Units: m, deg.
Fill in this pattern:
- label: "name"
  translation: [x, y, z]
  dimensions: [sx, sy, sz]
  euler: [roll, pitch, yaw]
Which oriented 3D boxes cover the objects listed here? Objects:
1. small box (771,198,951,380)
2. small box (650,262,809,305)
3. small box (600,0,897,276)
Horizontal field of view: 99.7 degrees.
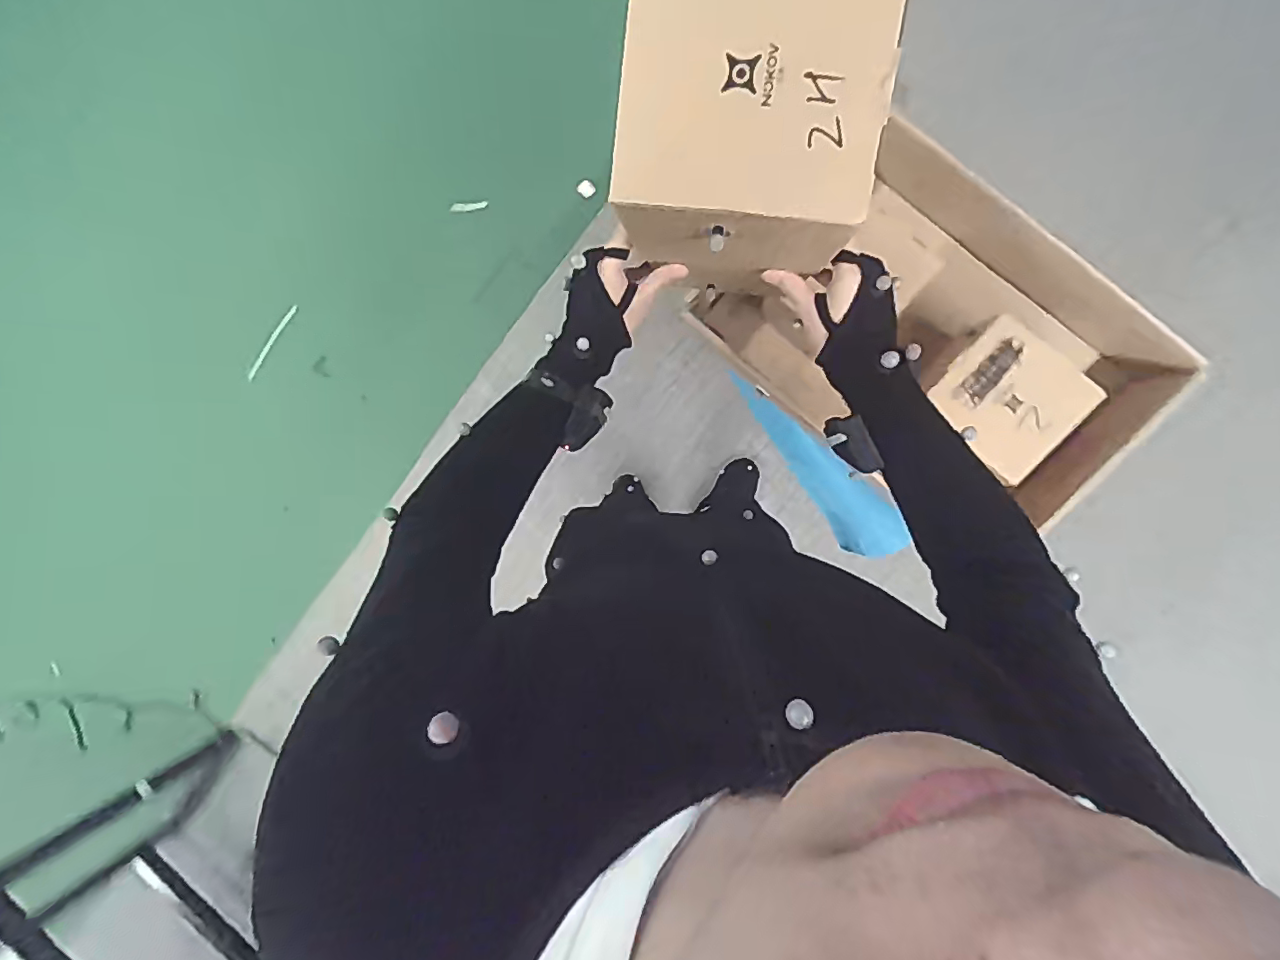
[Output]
- label: "small box"
  translation: [0.319, -0.278, 0.828]
  dimensions: [0.168, 0.176, 0.179]
  euler: [42, 98, 5]
- label: "small box"
  translation: [0.098, -0.299, 0.585]
  dimensions: [0.168, 0.176, 0.179]
  euler: [7, 100, 5]
- label: "small box"
  translation: [0.077, -0.267, 0.427]
  dimensions: [0.179, 0.176, 0.168]
  euler: [8, 101, 6]
